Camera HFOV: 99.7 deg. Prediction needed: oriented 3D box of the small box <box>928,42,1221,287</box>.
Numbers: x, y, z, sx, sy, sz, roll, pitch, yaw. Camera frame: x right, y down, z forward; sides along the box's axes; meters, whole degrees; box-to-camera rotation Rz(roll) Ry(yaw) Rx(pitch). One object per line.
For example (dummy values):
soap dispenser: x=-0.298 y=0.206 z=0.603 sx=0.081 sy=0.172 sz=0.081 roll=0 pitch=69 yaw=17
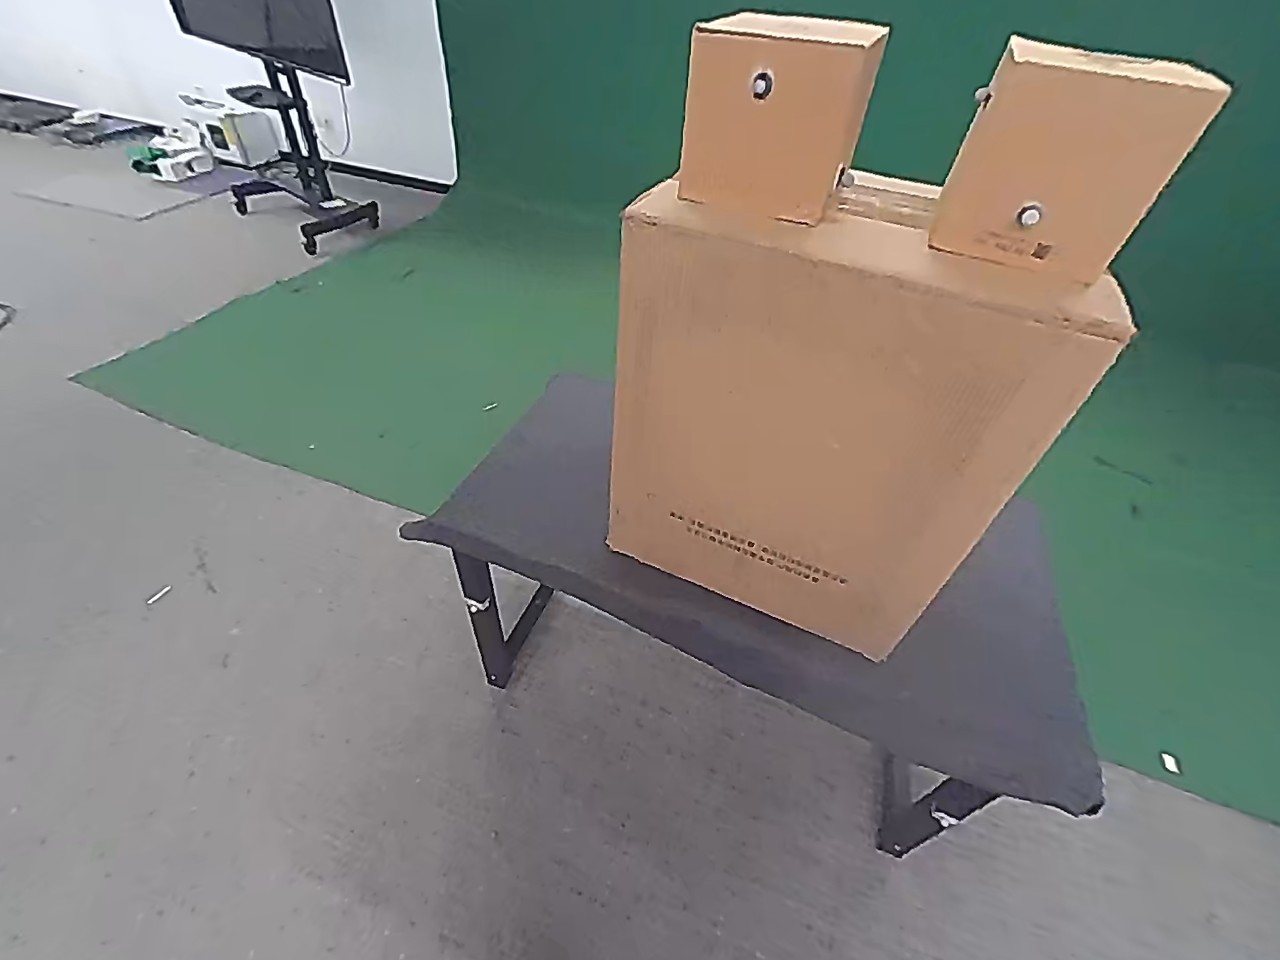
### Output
small box: x=0.429 y=-0.334 z=0.571 sx=0.168 sy=0.176 sz=0.179 roll=22 pitch=49 yaw=13

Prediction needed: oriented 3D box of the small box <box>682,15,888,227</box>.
small box: x=0.161 y=-0.419 z=0.634 sx=0.179 sy=0.176 sz=0.168 roll=22 pitch=49 yaw=14
